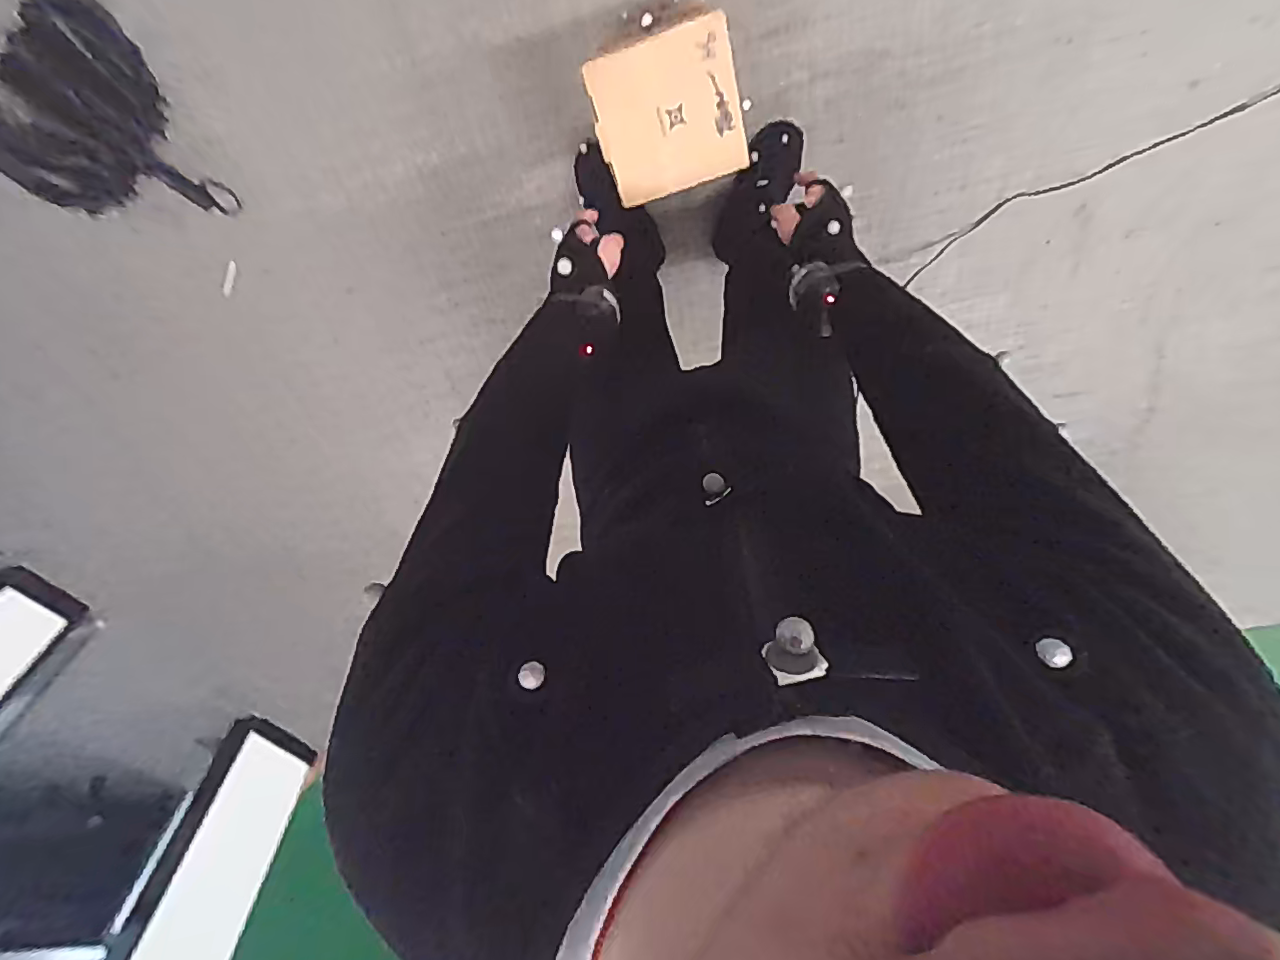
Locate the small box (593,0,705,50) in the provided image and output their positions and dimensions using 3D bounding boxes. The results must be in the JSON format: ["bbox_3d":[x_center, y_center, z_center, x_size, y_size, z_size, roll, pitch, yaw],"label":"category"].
[{"bbox_3d":[0.037,-0.618,0.852,0.168,0.176,0.179,-14,130,15],"label":"small box"}]

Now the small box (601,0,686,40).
[{"bbox_3d":[0.039,-0.733,0.970,0.168,0.176,0.179,-14,131,14],"label":"small box"}]

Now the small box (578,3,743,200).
[{"bbox_3d":[0.034,-0.509,0.731,0.179,0.176,0.168,-12,130,13],"label":"small box"}]
